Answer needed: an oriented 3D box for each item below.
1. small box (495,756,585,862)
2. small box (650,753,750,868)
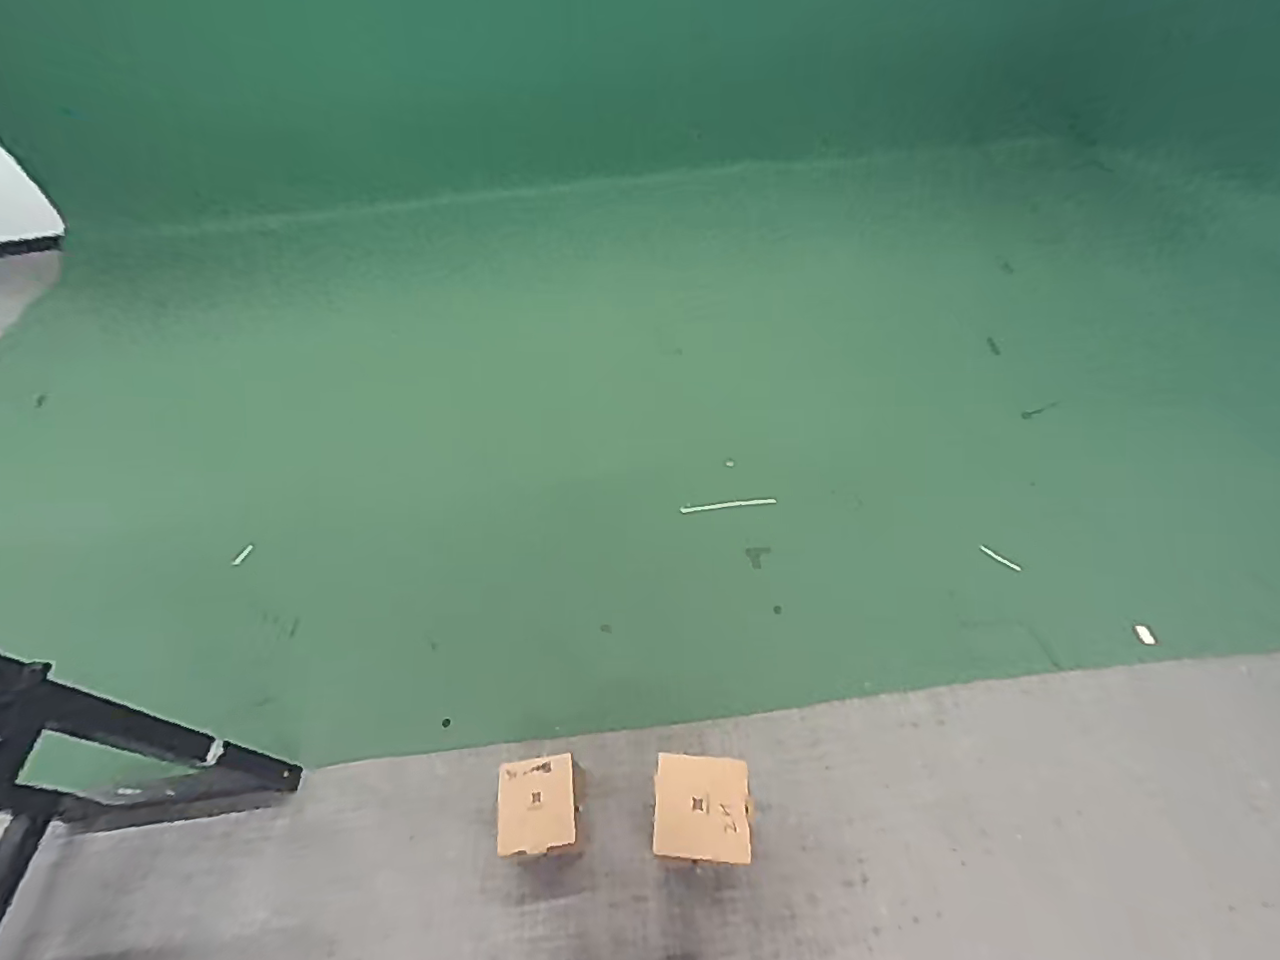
[{"bbox_3d":[-0.218,0.738,1.208,0.168,0.176,0.179,-8,52,-2],"label":"small box"},{"bbox_3d":[0.117,0.641,1.047,0.179,0.176,0.168,2,53,6],"label":"small box"}]
